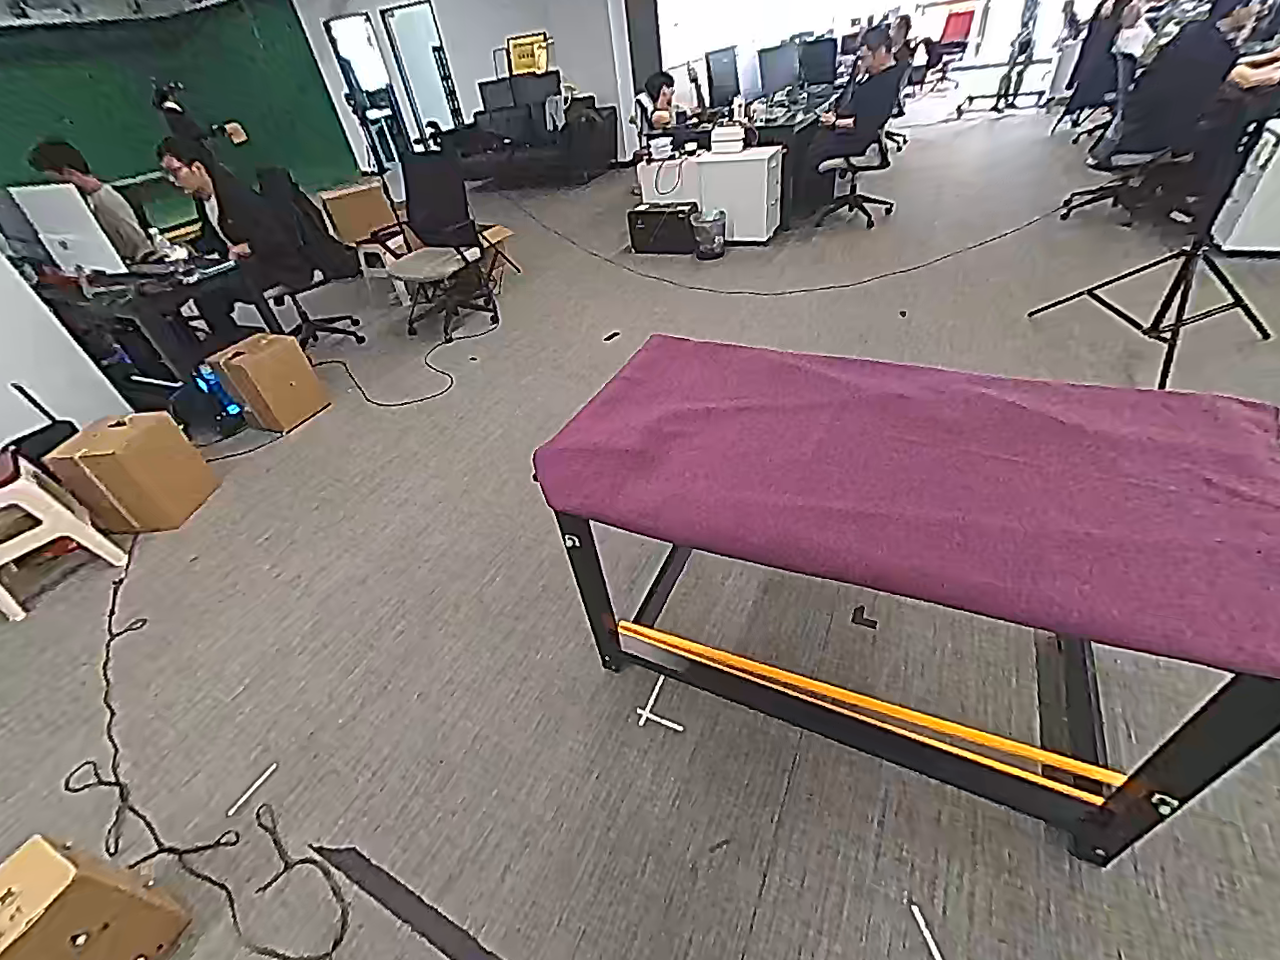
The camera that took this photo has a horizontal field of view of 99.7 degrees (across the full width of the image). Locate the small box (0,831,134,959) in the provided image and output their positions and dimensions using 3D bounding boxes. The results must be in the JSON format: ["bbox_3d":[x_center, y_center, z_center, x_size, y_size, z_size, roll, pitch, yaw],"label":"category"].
[{"bbox_3d":[-1.153,0.824,1.040,0.179,0.176,0.168,12,45,22],"label":"small box"}]

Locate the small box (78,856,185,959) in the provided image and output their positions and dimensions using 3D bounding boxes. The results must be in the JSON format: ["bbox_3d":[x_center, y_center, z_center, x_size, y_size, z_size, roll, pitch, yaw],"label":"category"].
[{"bbox_3d":[-1.136,0.950,1.145,0.179,0.176,0.168,14,45,23],"label":"small box"}]
